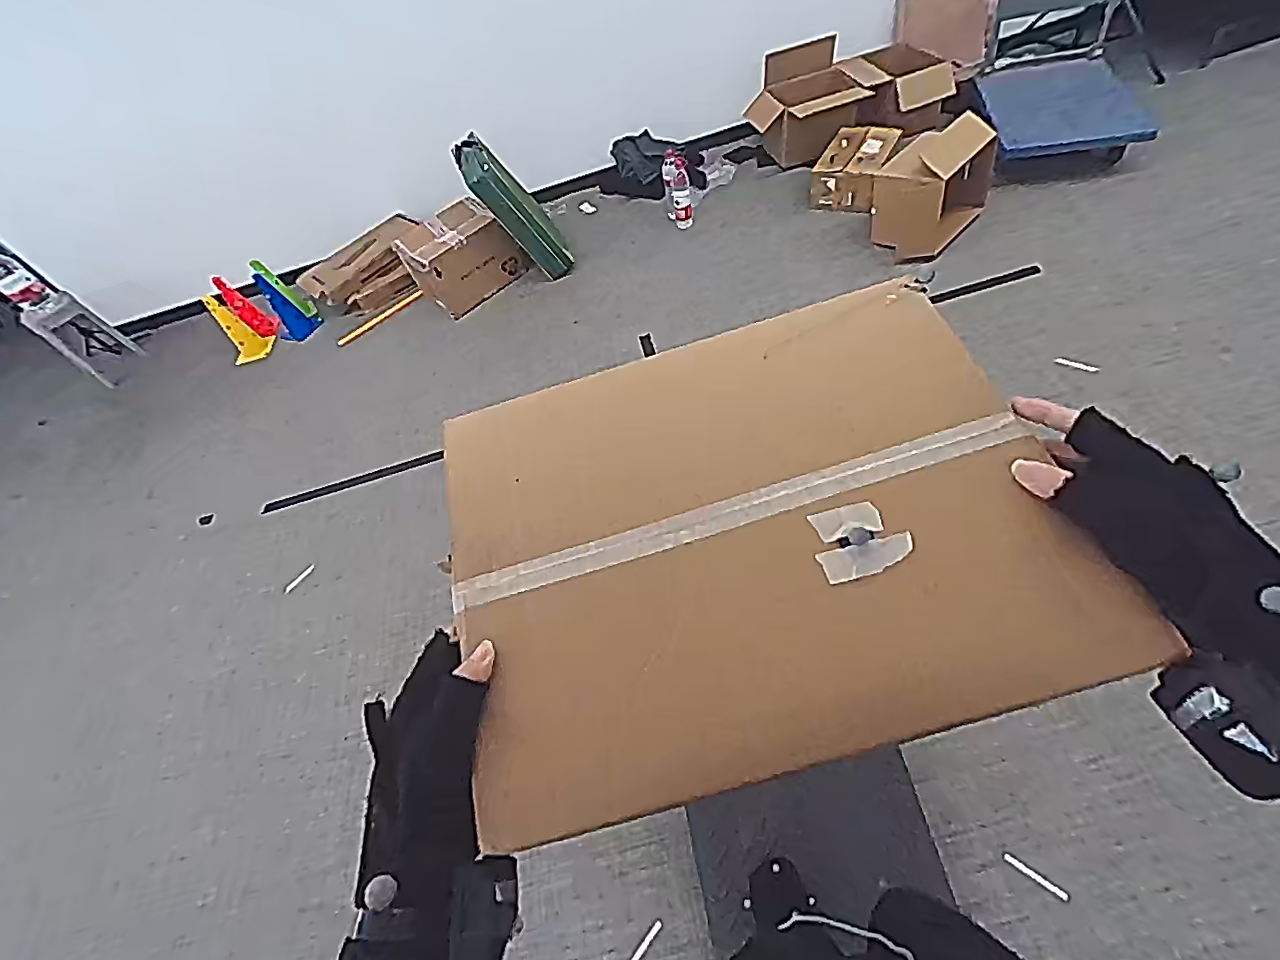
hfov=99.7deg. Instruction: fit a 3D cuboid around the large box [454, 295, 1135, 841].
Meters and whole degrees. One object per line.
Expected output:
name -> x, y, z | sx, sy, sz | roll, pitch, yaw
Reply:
large box -> 0.088, 0.097, 0.519 | 0.408, 0.320, 0.320 | -17, 62, 1
